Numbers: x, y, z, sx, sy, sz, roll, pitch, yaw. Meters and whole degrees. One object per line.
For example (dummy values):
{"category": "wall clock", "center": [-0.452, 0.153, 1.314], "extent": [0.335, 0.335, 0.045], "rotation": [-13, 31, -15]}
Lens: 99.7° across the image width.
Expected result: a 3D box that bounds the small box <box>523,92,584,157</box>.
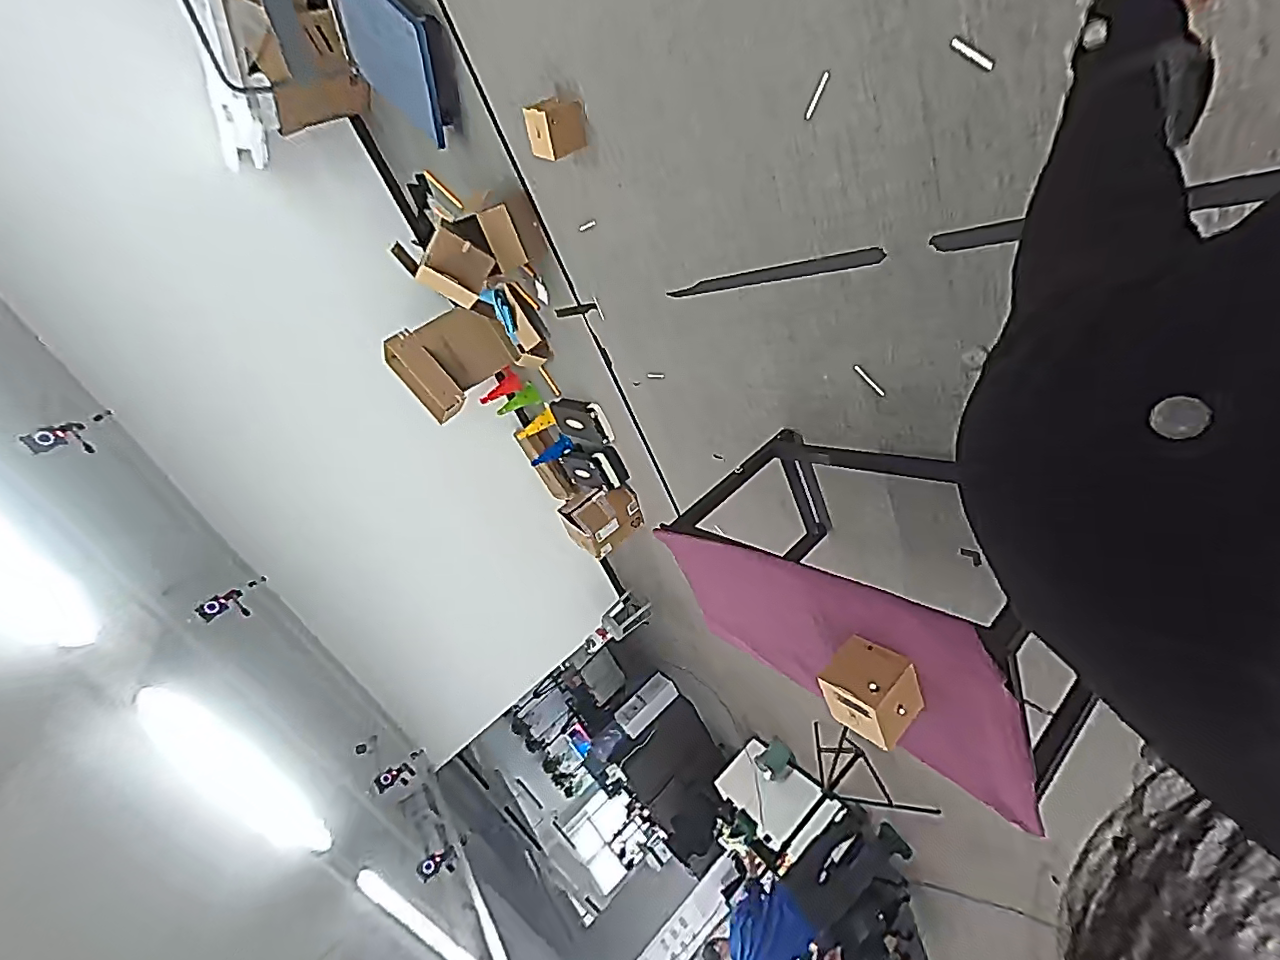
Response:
{"category": "small box", "center": [-0.349, -1.463, 2.224], "extent": [0.168, 0.176, 0.179], "rotation": [37, 152, 35]}
